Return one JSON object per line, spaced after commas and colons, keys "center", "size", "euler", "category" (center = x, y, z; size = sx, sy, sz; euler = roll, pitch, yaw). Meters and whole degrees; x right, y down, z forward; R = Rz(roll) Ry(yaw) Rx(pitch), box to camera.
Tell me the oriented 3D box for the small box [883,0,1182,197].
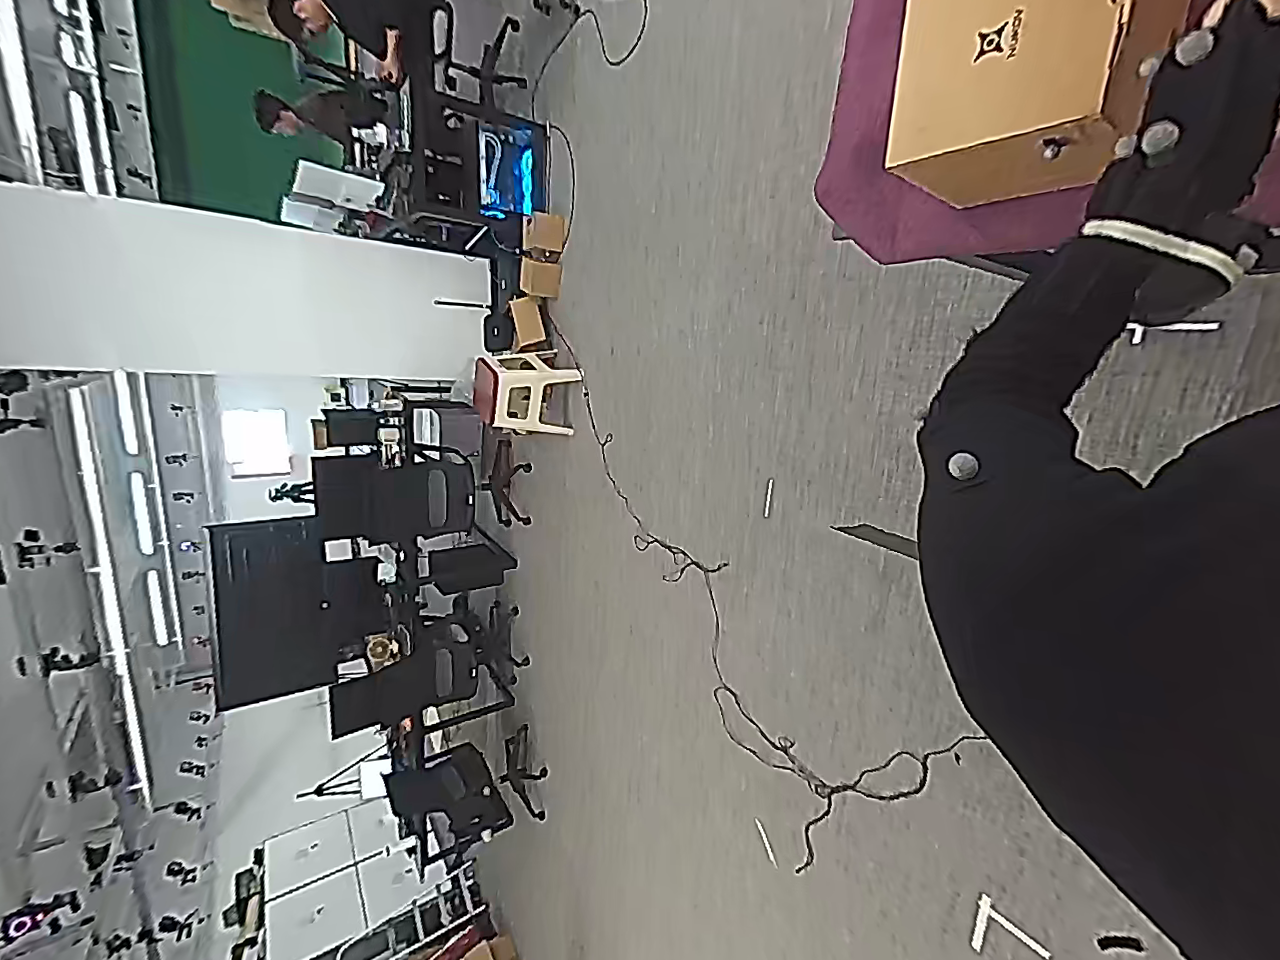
{"center": [0.367, -0.390, 0.516], "size": [0.179, 0.176, 0.168], "euler": [17, 108, 50], "category": "small box"}
